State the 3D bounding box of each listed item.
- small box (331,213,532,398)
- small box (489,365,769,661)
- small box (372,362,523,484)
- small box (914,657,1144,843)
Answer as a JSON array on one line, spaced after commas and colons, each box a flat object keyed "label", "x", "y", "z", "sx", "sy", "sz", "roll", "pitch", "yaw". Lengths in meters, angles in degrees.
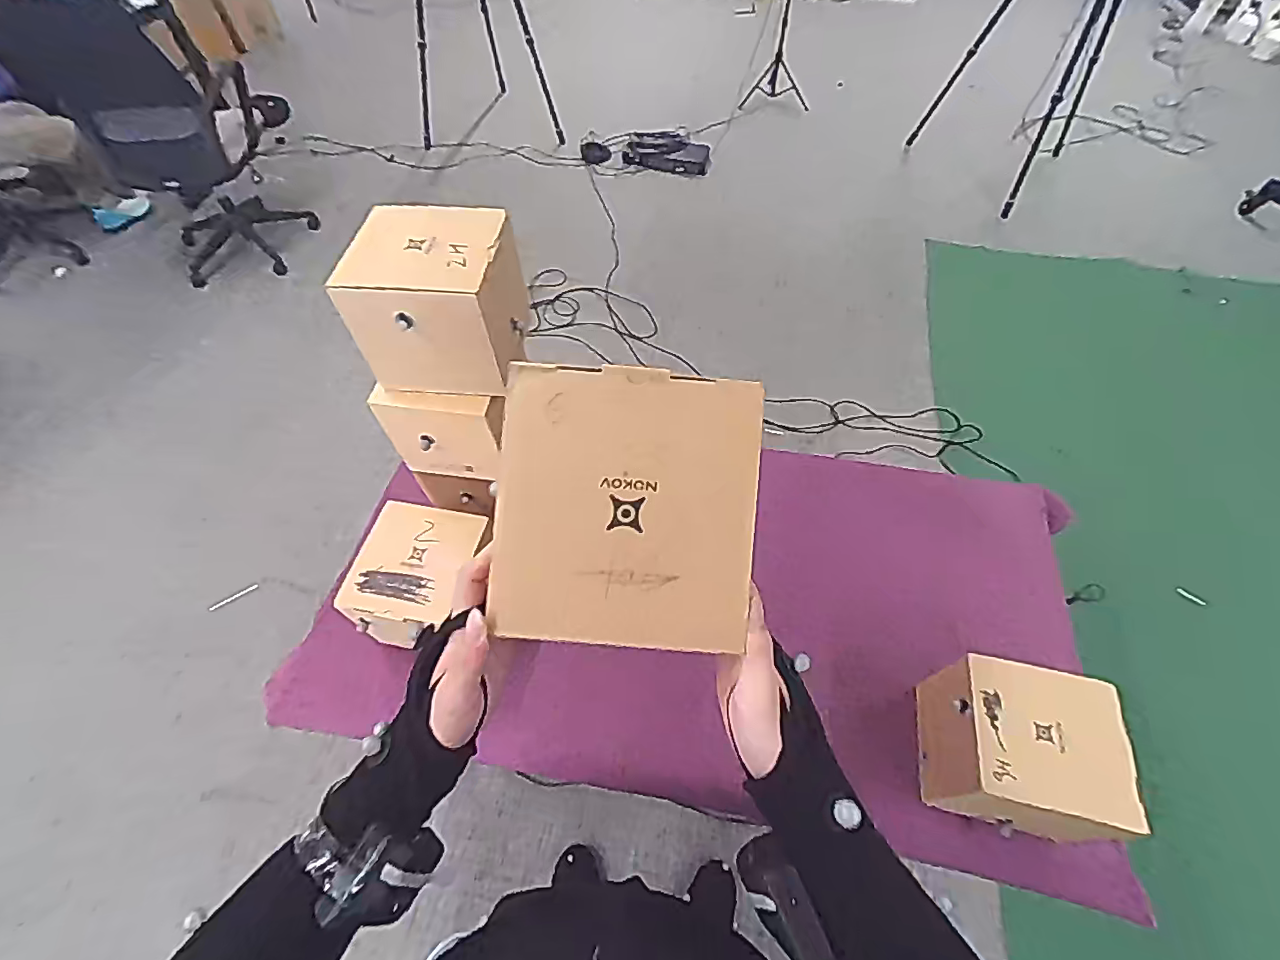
[{"label": "small box", "x": -0.254, "y": -0.224, "z": 0.710, "sx": 0.179, "sy": 0.176, "sz": 0.168, "roll": 4, "pitch": 56, "yaw": 2}, {"label": "small box", "x": -0.007, "y": 0.022, "z": 0.419, "sx": 0.168, "sy": 0.176, "sz": 0.179, "roll": 5, "pitch": 89, "yaw": 0}, {"label": "small box", "x": -0.270, "y": -0.113, "z": 0.833, "sx": 0.168, "sy": 0.176, "sz": 0.179, "roll": 7, "pitch": 56, "yaw": 5}, {"label": "small box", "x": 0.486, "y": 0.356, "z": 0.709, "sx": 0.179, "sy": 0.176, "sz": 0.168, "roll": 12, "pitch": 56, "yaw": 8}]
